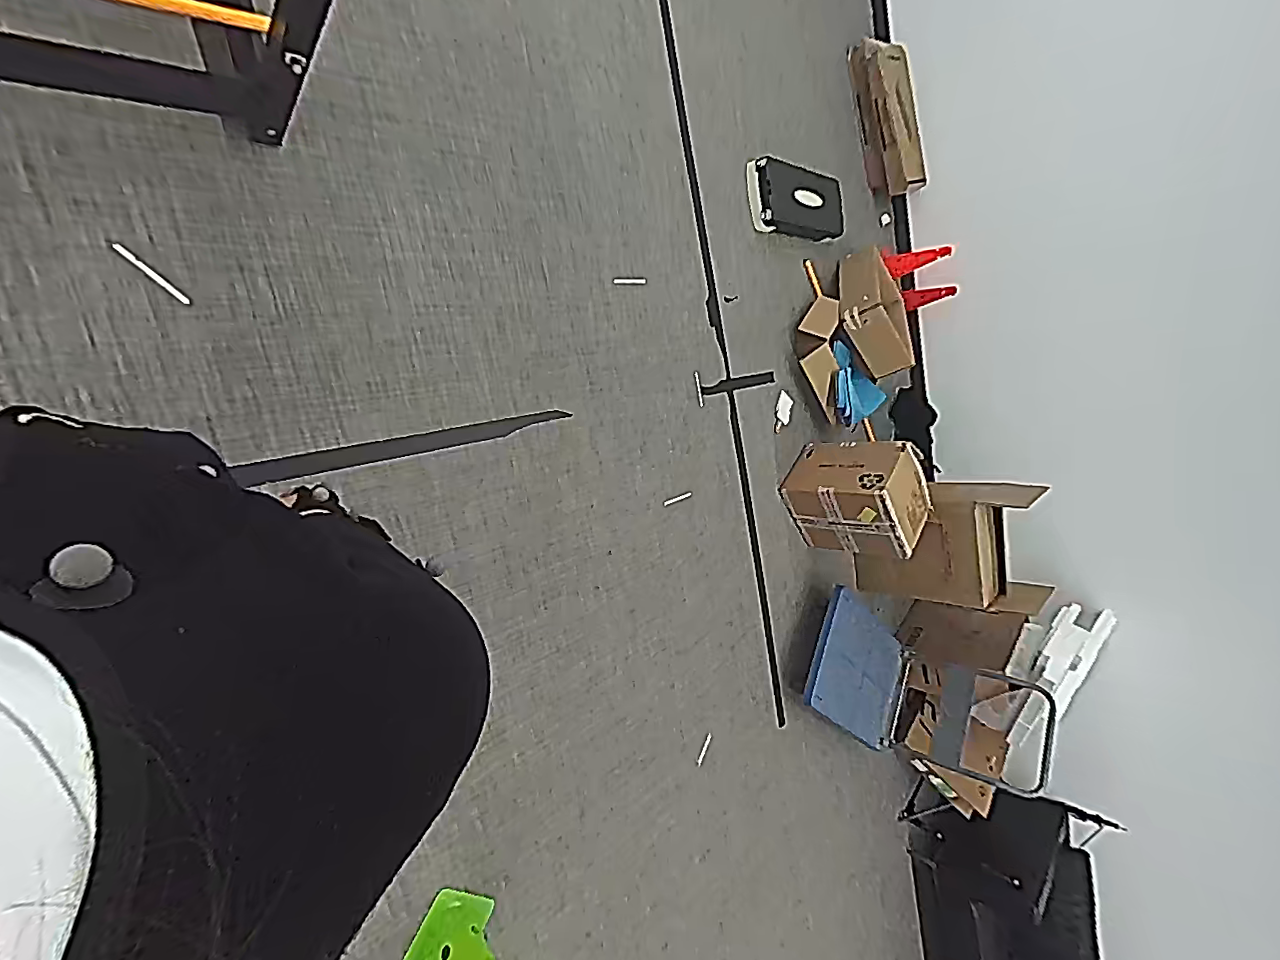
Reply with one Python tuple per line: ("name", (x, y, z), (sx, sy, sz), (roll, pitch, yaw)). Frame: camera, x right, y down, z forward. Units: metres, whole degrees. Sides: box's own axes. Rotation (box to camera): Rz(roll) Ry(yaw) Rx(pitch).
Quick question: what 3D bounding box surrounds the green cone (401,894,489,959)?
("green cone", (-0.398, 1.215, 1.304), (0.200, 0.368, 0.202), (46, 59, -34))
